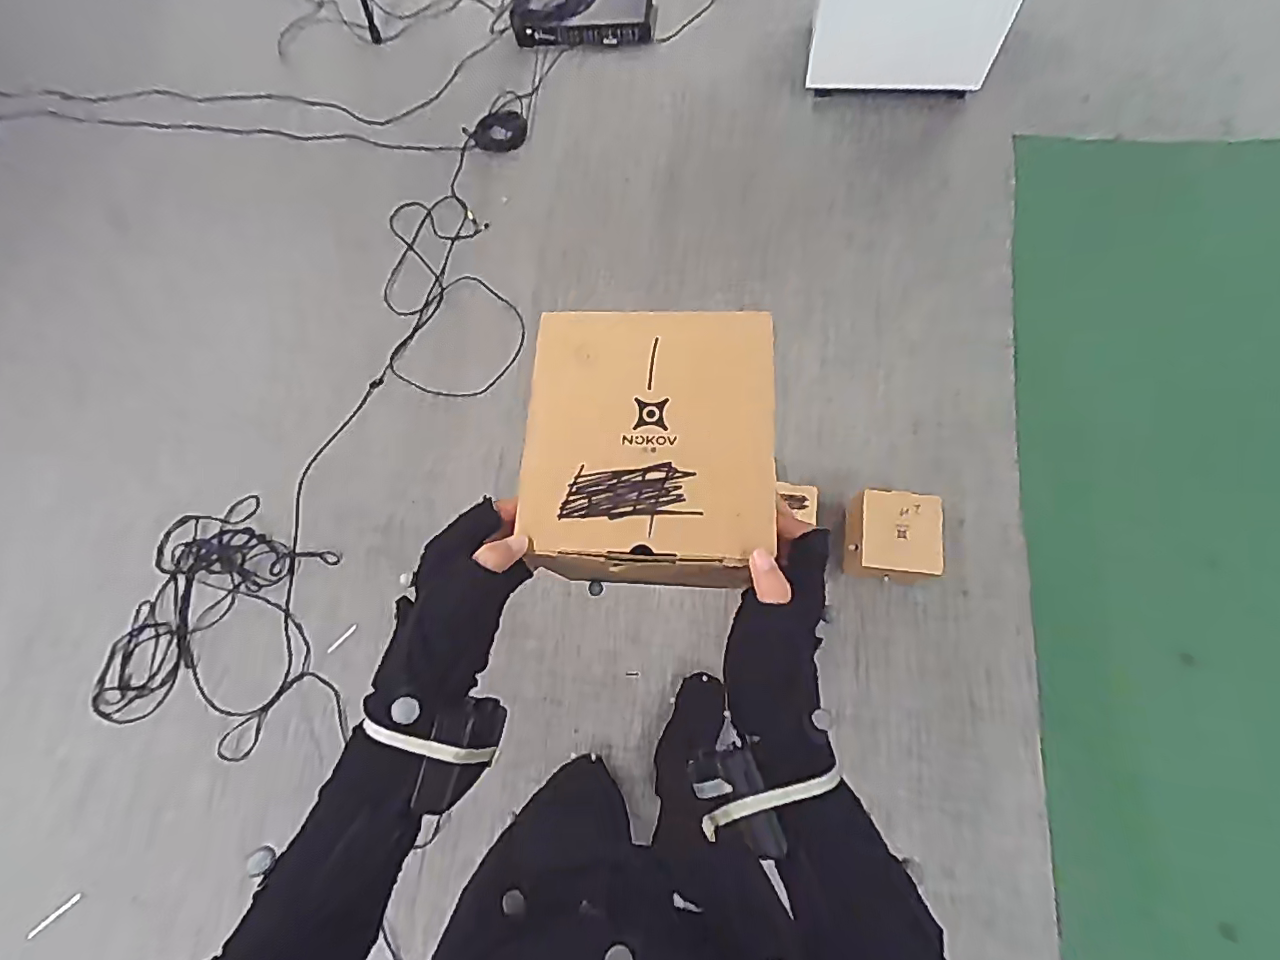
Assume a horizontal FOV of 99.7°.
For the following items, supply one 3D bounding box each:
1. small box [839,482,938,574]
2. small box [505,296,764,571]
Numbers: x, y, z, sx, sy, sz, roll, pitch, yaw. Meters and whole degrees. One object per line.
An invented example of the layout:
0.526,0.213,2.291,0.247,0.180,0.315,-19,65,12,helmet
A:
0.564,0.116,1.243,0.168,0.176,0.179,6,75,7,small box
0.007,-0.024,0.435,0.168,0.176,0.179,2,73,6,small box
